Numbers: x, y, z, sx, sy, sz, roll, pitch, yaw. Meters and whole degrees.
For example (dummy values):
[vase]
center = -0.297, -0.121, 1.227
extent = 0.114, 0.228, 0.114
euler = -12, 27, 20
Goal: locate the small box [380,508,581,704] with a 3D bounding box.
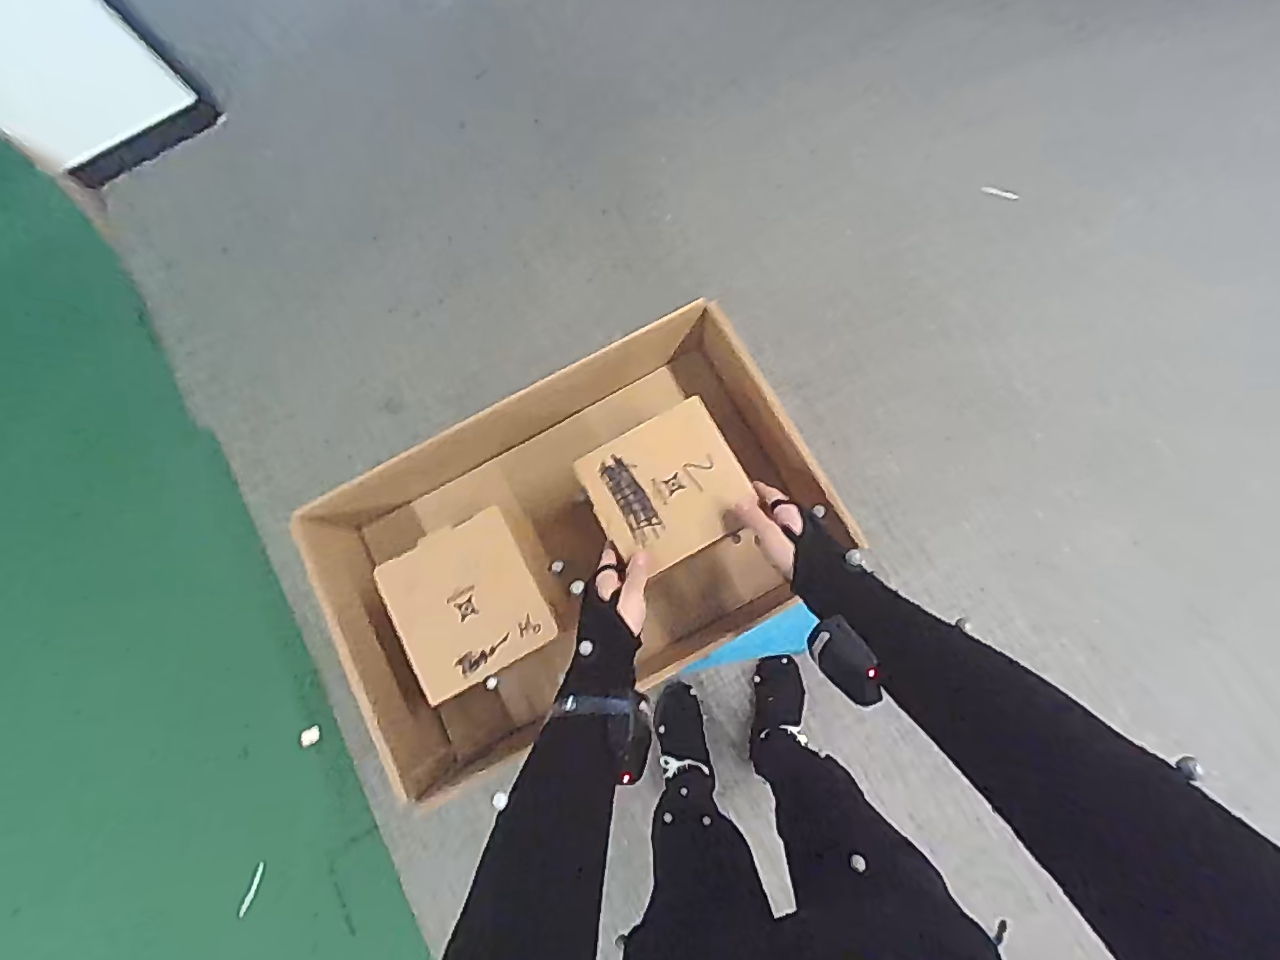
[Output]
[small box]
center = -0.195, 0.160, 0.703
extent = 0.168, 0.176, 0.179
euler = -28, 77, -2
